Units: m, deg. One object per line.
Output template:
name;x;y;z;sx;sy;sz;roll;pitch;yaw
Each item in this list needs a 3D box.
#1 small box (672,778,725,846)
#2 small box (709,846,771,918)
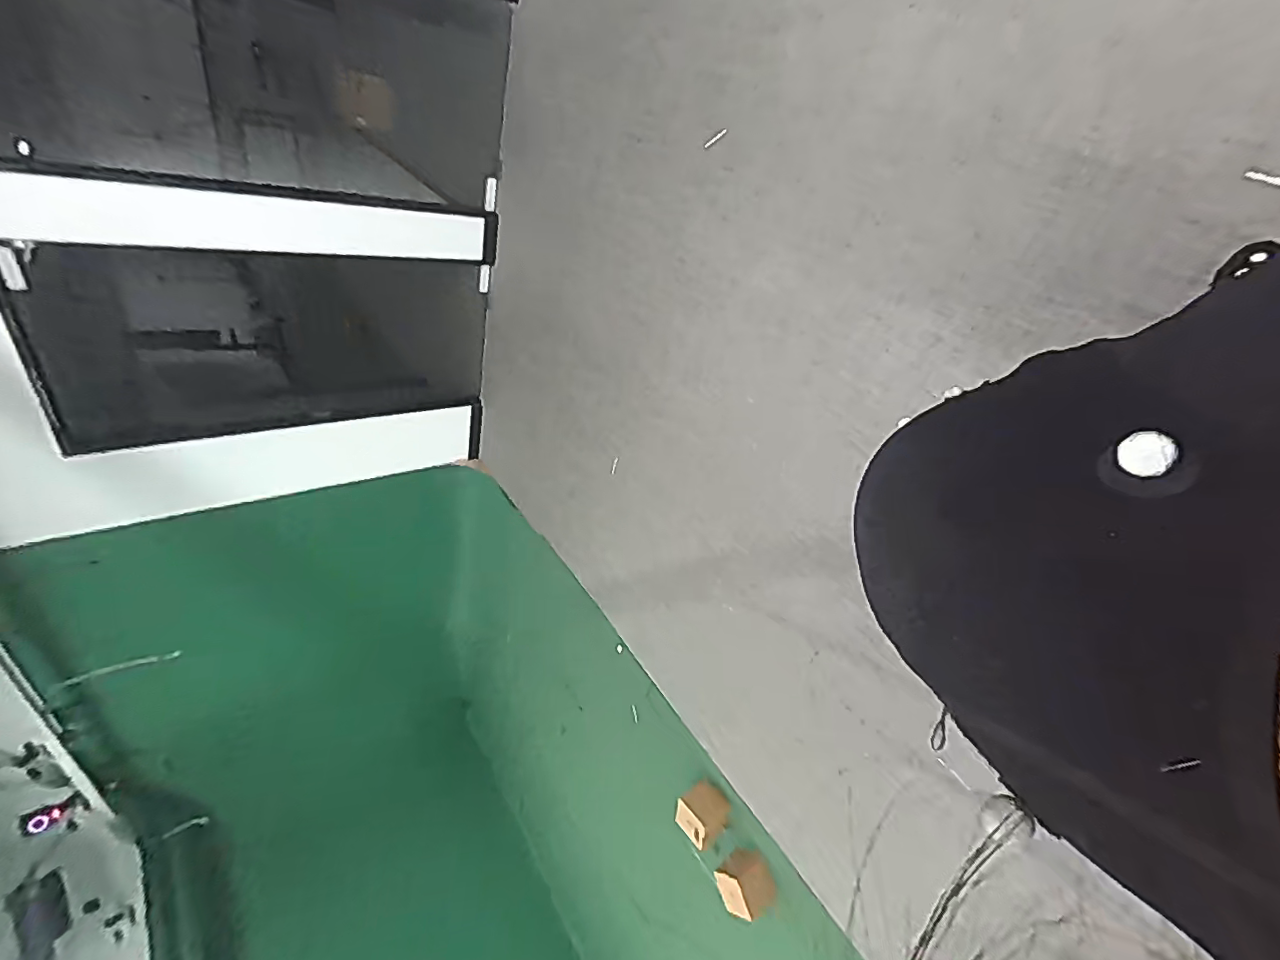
small box;0.275;1.535;2.511;0.179;0.176;0.168;30;123;44
small box;0.441;1.756;2.376;0.168;0.176;0.179;-30;78;52
